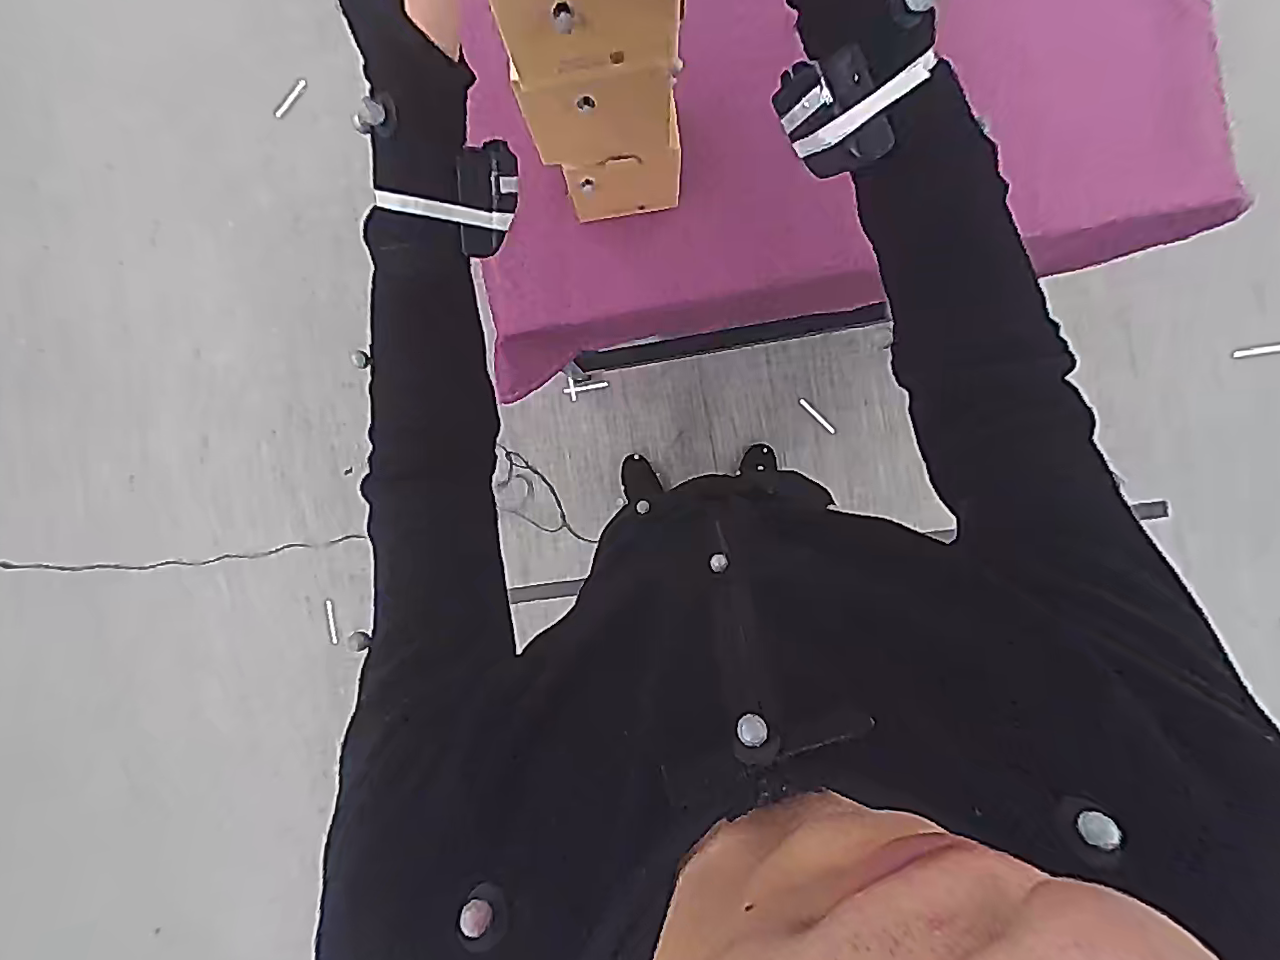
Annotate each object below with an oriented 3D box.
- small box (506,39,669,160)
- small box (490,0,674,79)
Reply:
[{"bbox_3d":[-0.055,-0.514,0.652,0.179,0.176,0.168,-2,92,2],"label":"small box"},{"bbox_3d":[-0.059,-0.505,0.490,0.168,0.176,0.179,-8,91,2],"label":"small box"}]
